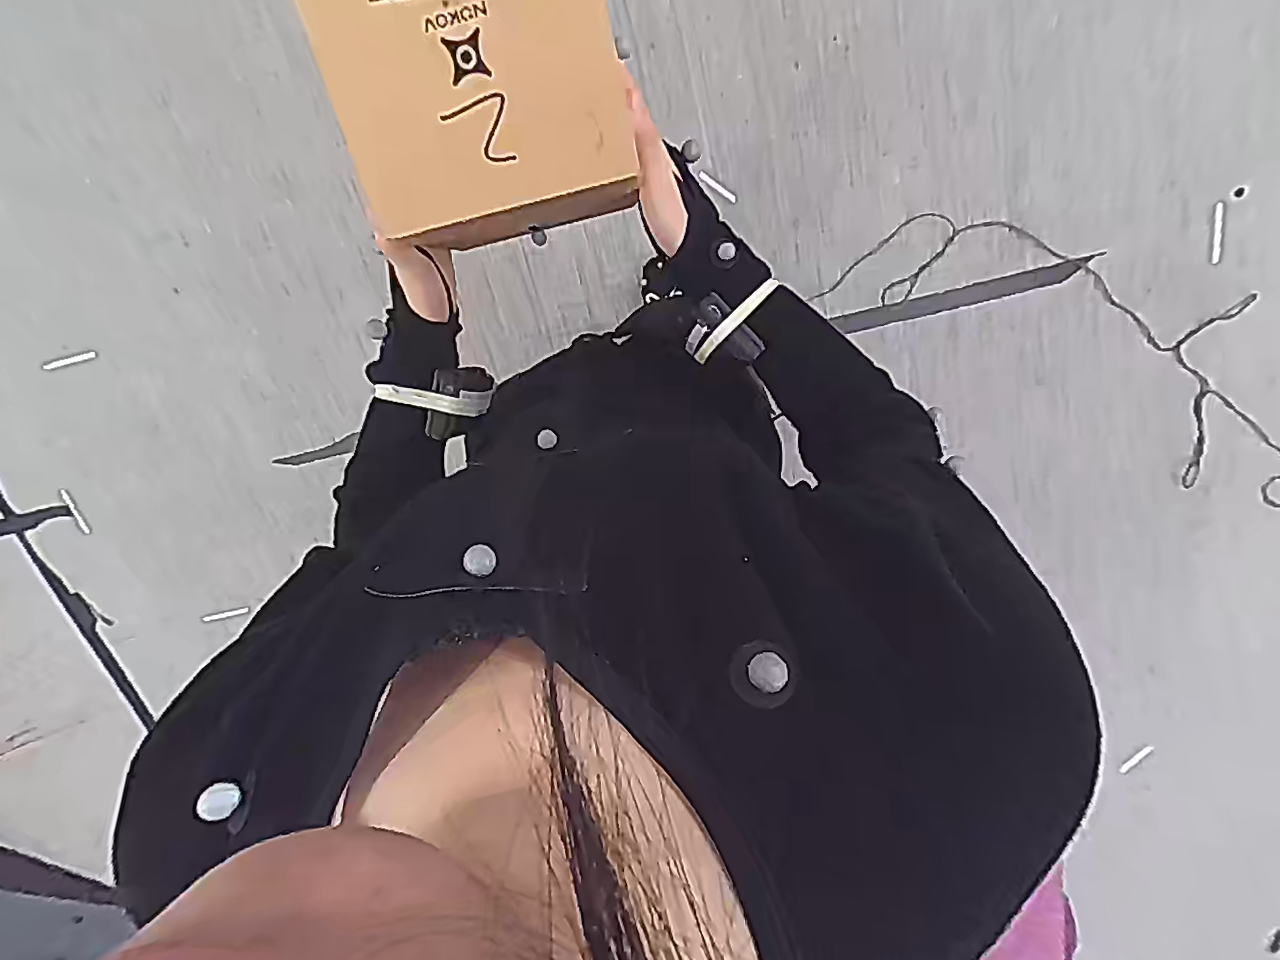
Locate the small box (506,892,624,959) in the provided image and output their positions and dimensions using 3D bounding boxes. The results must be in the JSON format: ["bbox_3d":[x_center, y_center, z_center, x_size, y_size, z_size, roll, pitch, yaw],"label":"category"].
[{"bbox_3d":[-0.129,0.863,0.938,0.179,0.176,0.168,-12,108,3],"label":"small box"}]

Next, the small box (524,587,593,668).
[{"bbox_3d":[-0.233,0.422,1.566,0.179,0.176,0.168,2,107,-2],"label":"small box"}]
